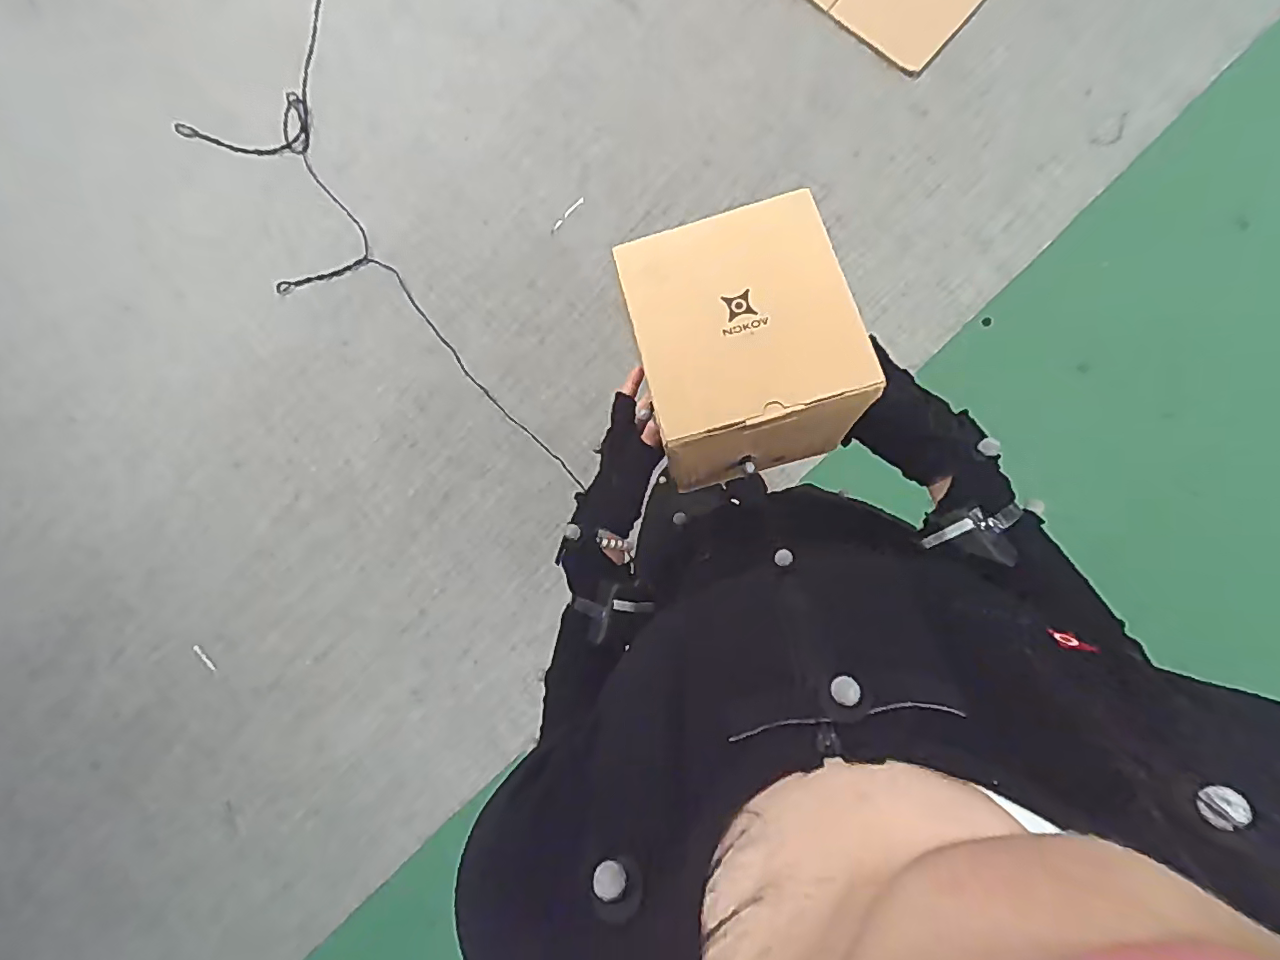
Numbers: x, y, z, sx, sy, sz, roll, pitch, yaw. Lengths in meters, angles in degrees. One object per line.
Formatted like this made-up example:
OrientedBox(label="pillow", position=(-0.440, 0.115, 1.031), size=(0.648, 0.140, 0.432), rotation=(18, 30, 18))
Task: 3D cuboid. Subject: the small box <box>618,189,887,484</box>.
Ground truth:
OrientedBox(label="small box", position=(0.087, -0.112, 0.488), size=(0.168, 0.176, 0.179), rotation=(-16, 76, 3))
